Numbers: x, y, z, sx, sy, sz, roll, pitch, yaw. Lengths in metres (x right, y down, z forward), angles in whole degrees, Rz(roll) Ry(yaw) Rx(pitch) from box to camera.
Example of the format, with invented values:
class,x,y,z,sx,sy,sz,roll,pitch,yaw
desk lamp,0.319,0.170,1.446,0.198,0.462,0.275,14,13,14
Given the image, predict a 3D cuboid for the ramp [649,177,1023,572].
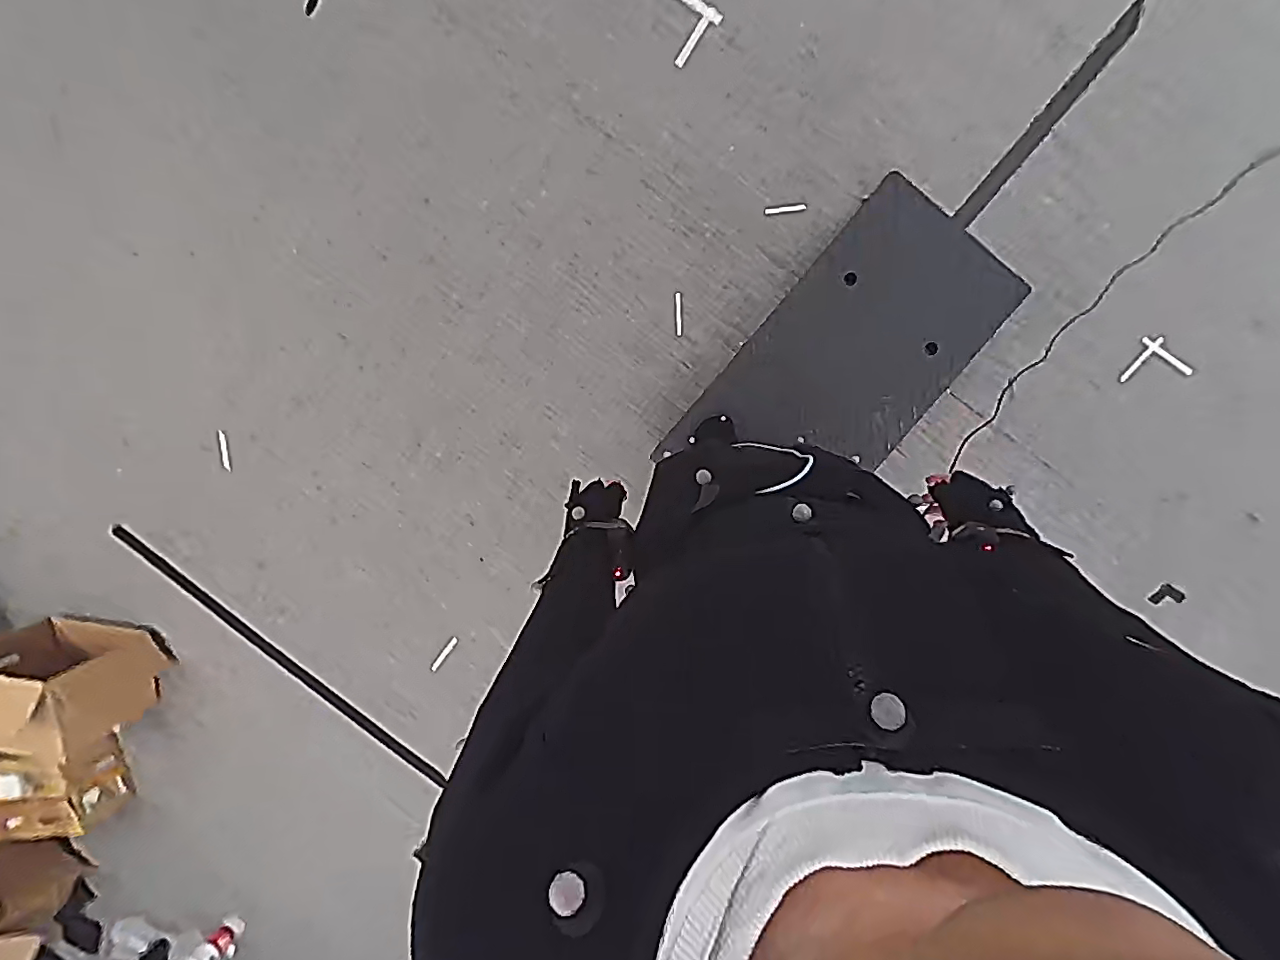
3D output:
class,x,y,z,sx,sy,sz,roll,pitch,yaw
ramp,0.519,-0.282,1.451,0.509,0.206,0.991,39,101,1
